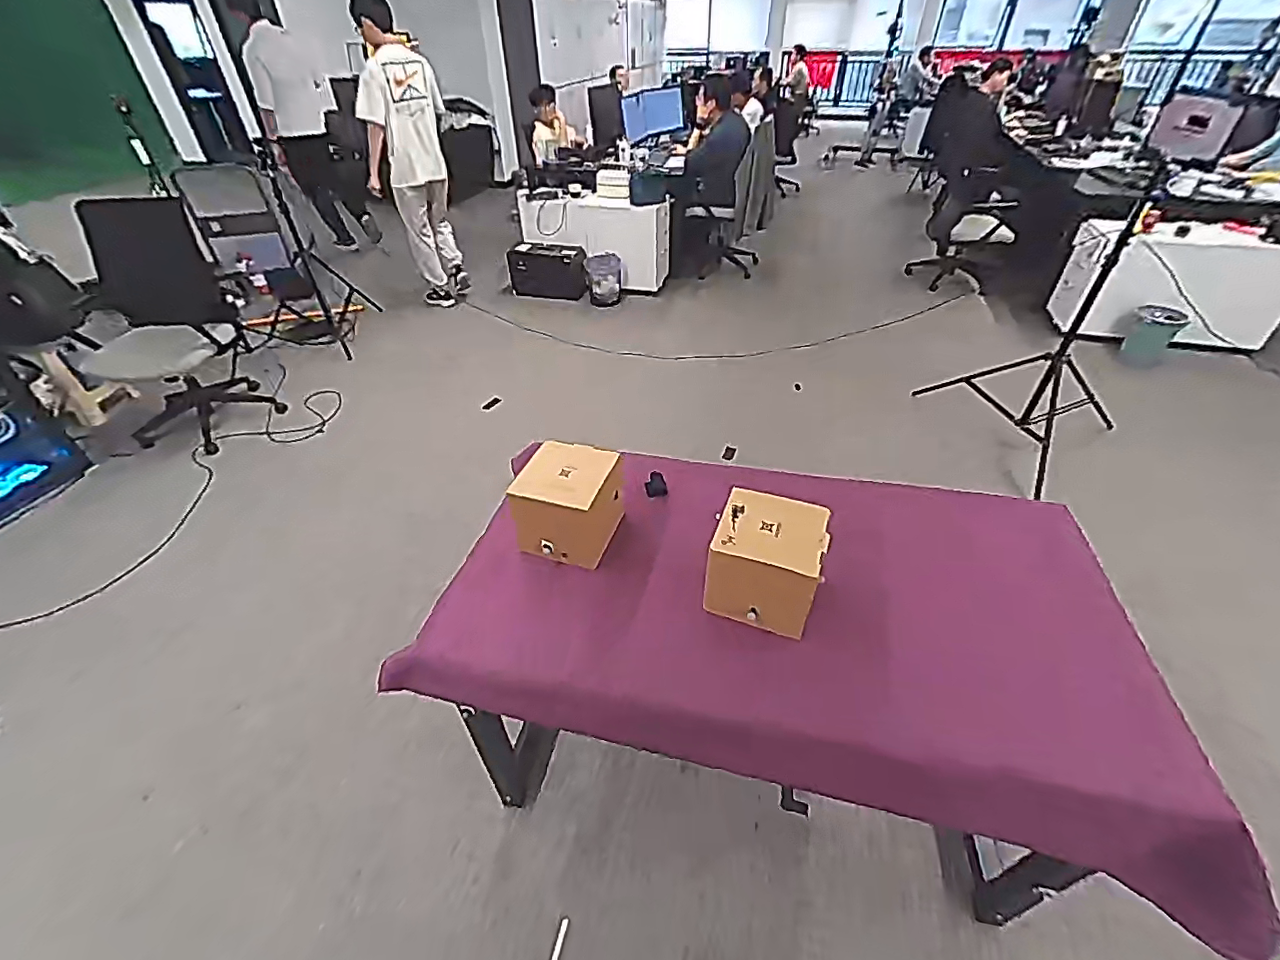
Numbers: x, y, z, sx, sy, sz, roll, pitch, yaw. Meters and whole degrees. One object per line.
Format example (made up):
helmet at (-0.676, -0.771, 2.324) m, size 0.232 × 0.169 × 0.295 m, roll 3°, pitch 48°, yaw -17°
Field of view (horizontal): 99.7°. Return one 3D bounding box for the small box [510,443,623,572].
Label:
small box at (-0.136, 0.053, 1.078) m, size 0.168 × 0.176 × 0.179 m, roll 10°, pitch 42°, yaw 15°

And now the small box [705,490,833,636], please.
small box at (0.224, 0.148, 0.954) m, size 0.179 × 0.176 × 0.168 m, roll 14°, pitch 42°, yaw 17°
